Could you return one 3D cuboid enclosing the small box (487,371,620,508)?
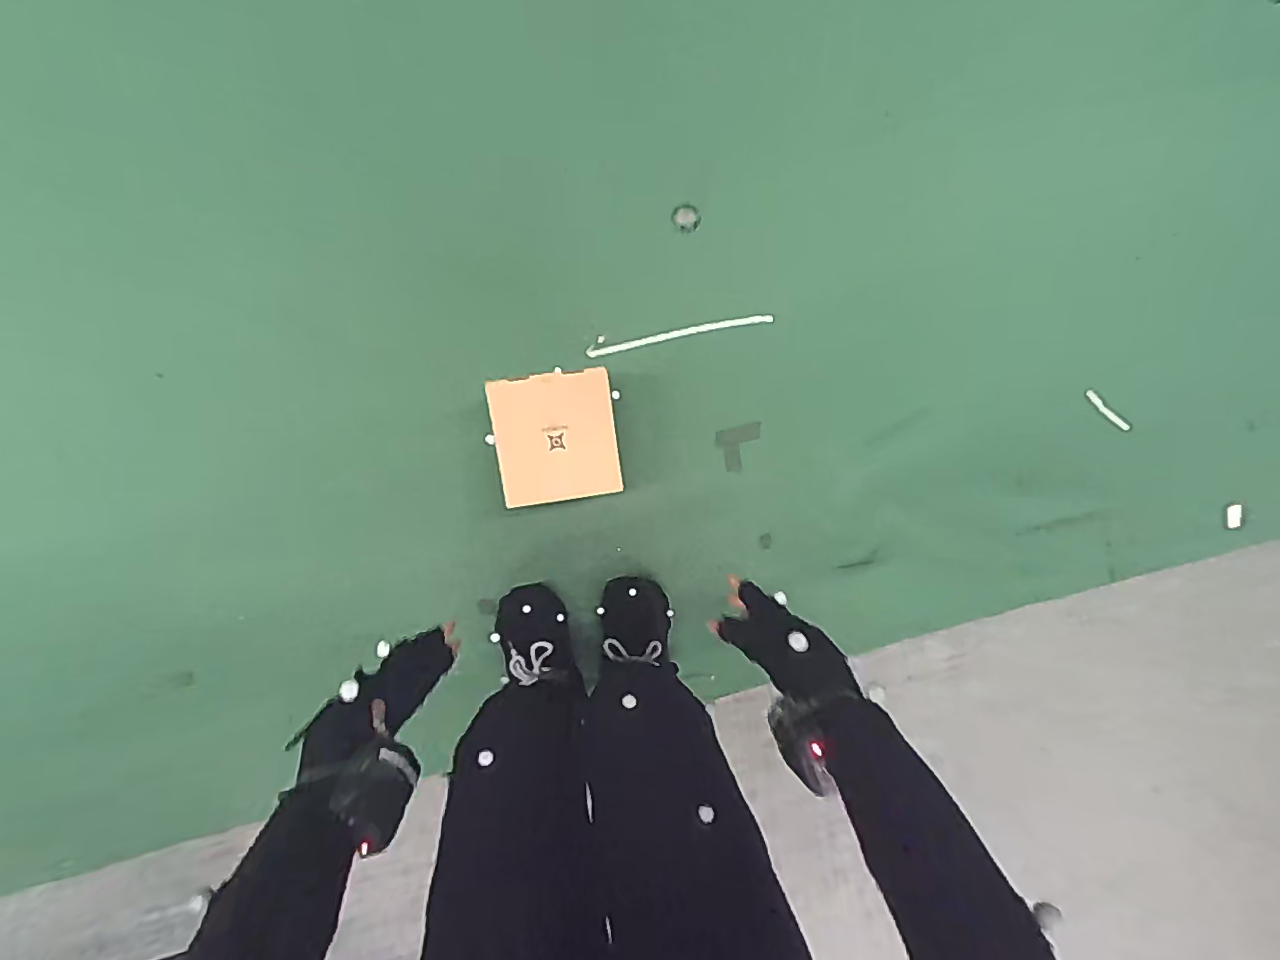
[{"bbox_3d":[-0.124,-0.067,0.825,0.168,0.176,0.179,-8,98,-5],"label":"small box"}]
